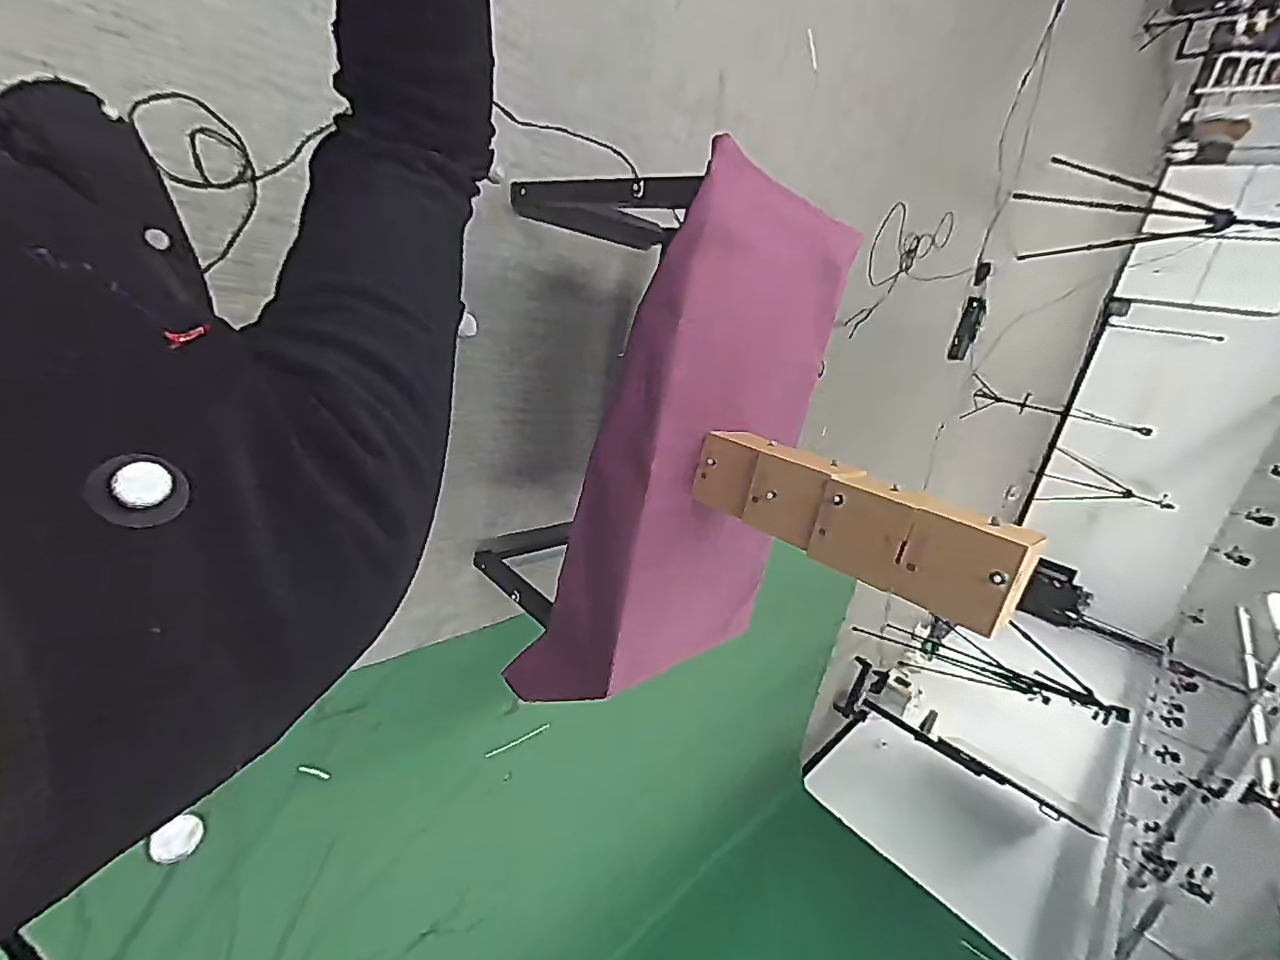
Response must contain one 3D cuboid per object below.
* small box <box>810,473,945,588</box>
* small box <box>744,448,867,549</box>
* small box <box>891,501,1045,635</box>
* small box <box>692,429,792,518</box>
[{"bbox_3d":[0.459,0.089,1.056,0.179,0.176,0.168,-4,112,-46],"label":"small box"},{"bbox_3d":[0.354,0.031,1.168,0.179,0.176,0.168,-4,112,-45],"label":"small box"},{"bbox_3d":[0.574,0.142,0.952,0.179,0.176,0.168,-2,110,-47],"label":"small box"},{"bbox_3d":[0.253,-0.020,1.287,0.179,0.176,0.168,-2,110,-45],"label":"small box"}]
